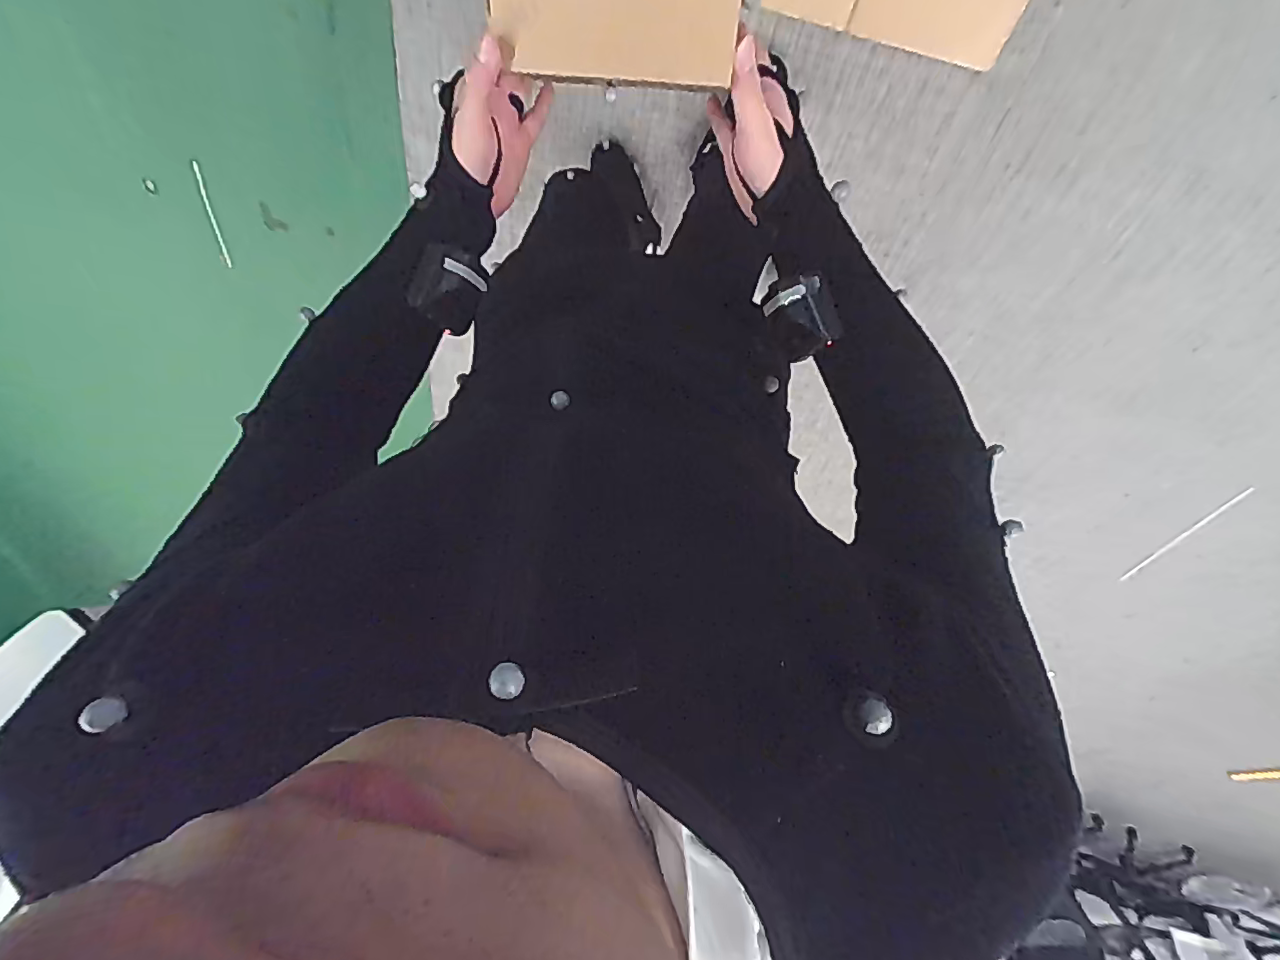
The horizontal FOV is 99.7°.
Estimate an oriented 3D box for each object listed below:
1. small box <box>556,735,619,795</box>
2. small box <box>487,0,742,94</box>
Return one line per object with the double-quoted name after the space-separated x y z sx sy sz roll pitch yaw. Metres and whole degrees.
-0.190 1.052 1.963 0.179 0.176 0.168 17 136 1 "small box"
-0.007 -0.401 0.410 0.179 0.176 0.168 7 125 4 "small box"
